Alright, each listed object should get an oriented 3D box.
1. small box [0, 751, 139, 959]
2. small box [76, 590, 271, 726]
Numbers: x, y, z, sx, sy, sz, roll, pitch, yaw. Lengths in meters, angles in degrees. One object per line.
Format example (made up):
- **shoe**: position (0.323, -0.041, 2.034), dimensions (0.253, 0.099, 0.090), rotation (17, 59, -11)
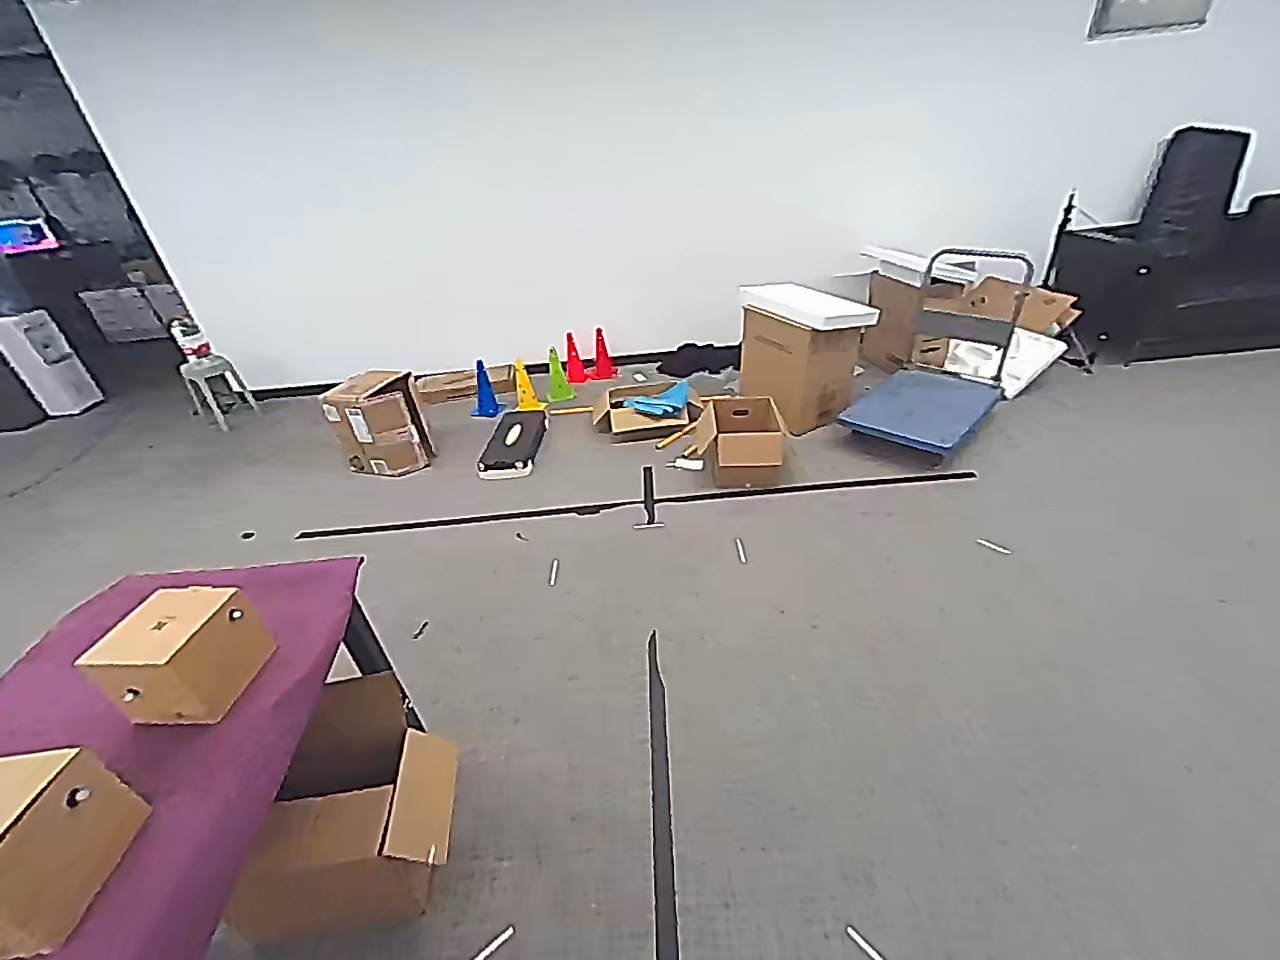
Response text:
- **small box**: position (-0.821, 0.491, 0.705), dimensions (0.168, 0.176, 0.179), rotation (-8, 32, 1)
- **small box**: position (-0.817, 0.321, 0.974), dimensions (0.168, 0.176, 0.179), rotation (-3, 32, 6)
